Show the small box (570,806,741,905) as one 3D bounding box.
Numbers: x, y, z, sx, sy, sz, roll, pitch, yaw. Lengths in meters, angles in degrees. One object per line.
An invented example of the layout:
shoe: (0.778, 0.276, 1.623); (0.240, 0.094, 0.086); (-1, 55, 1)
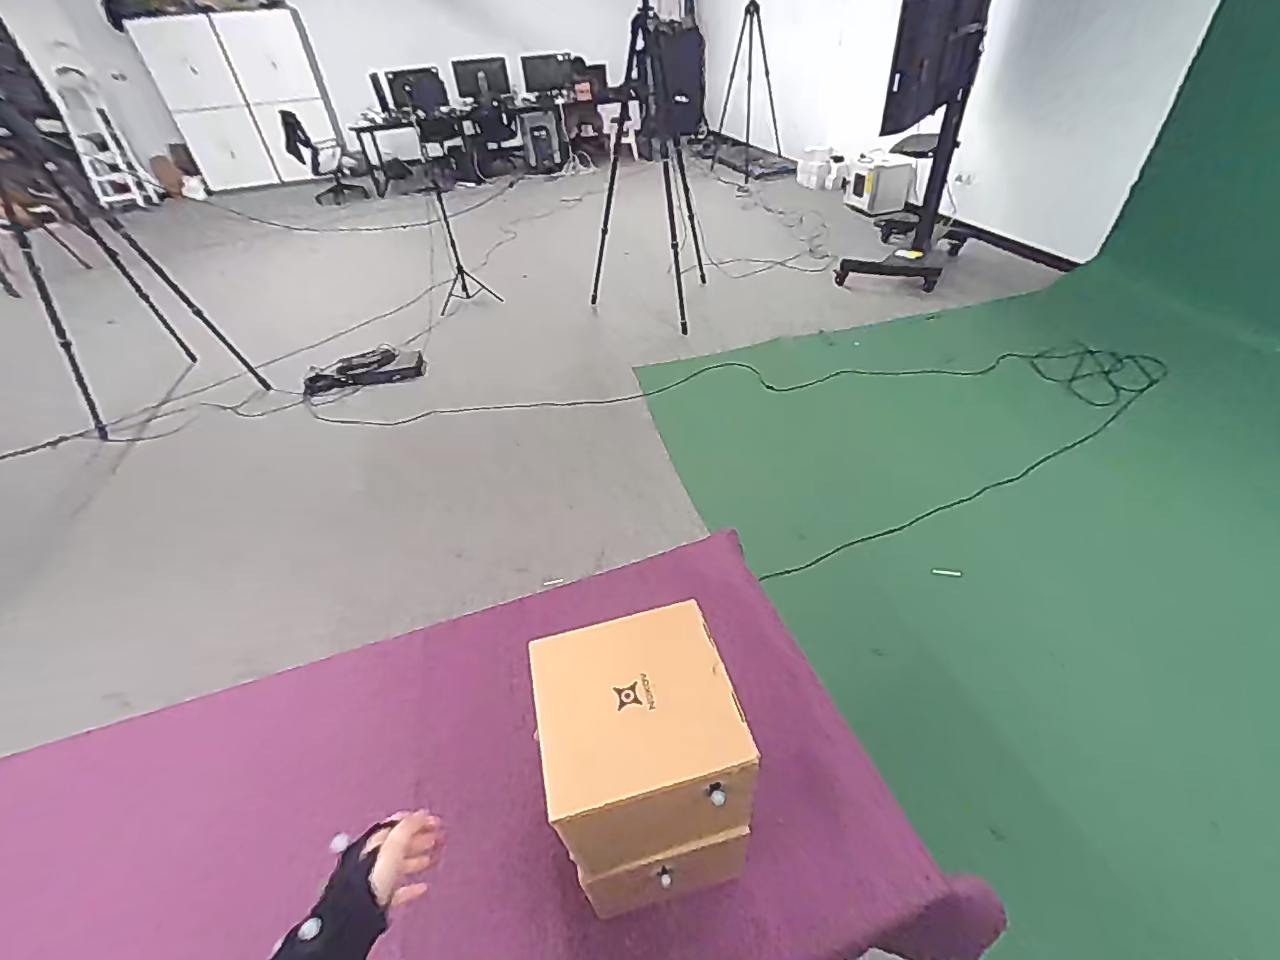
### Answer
small box: (0.010, 0.375, 0.645); (0.179, 0.176, 0.168); (-11, 42, -6)

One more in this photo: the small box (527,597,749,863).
small box: (-0.004, 0.250, 0.542); (0.179, 0.176, 0.168); (-12, 42, -8)
